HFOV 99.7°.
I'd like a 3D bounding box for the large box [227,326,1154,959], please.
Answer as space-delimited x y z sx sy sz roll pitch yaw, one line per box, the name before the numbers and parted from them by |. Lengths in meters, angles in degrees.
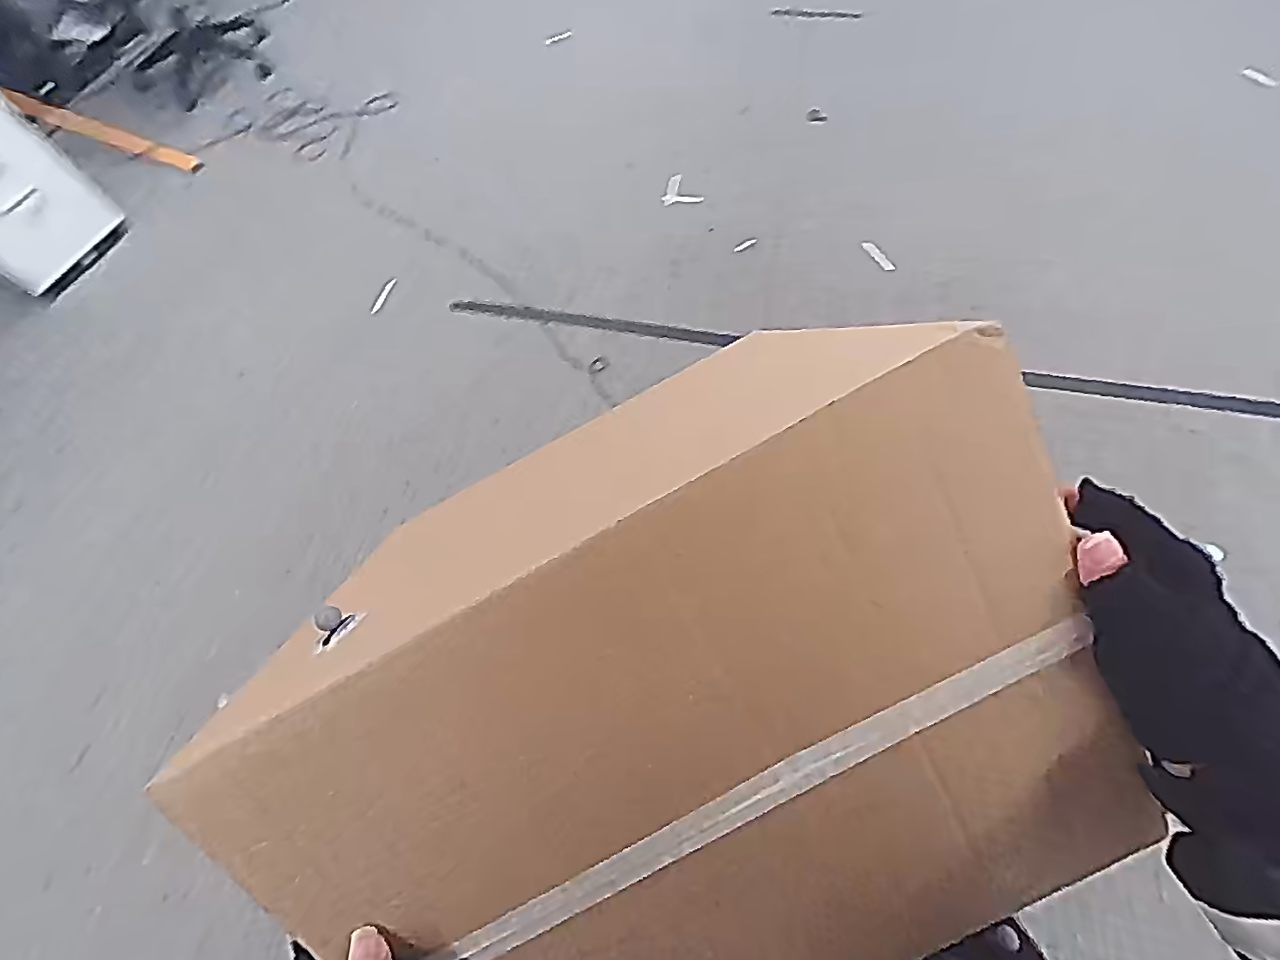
large box | 0.035 0.120 0.421 0.408 0.320 0.320 -28 106 3
